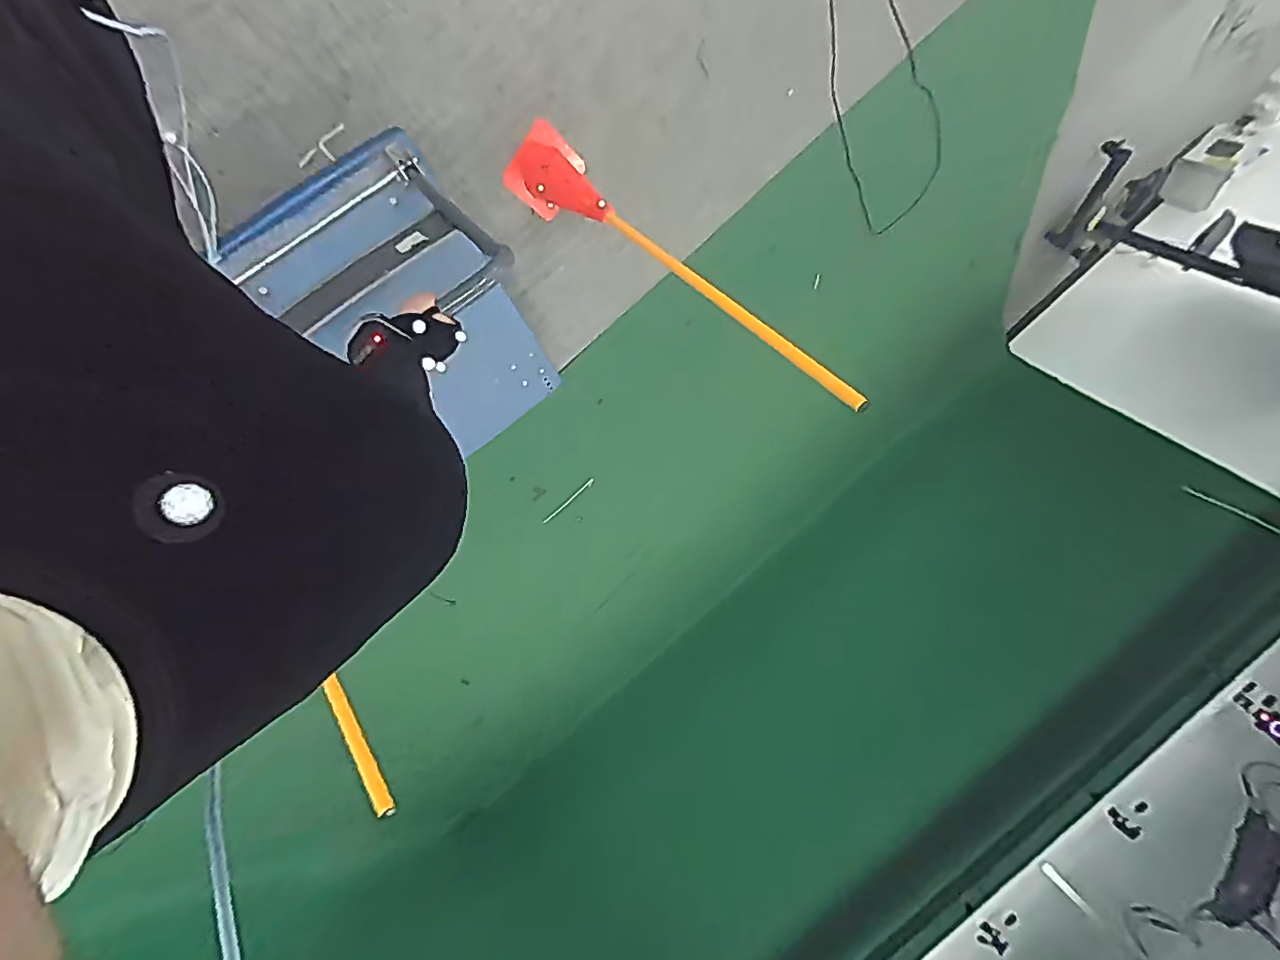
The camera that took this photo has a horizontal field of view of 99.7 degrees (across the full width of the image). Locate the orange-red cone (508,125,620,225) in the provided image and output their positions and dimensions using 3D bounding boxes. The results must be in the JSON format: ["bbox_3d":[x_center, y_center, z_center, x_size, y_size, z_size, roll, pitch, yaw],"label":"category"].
[{"bbox_3d":[-0.167,-0.773,1.461,0.199,0.360,0.198,-51,147,12],"label":"orange-red cone"}]
